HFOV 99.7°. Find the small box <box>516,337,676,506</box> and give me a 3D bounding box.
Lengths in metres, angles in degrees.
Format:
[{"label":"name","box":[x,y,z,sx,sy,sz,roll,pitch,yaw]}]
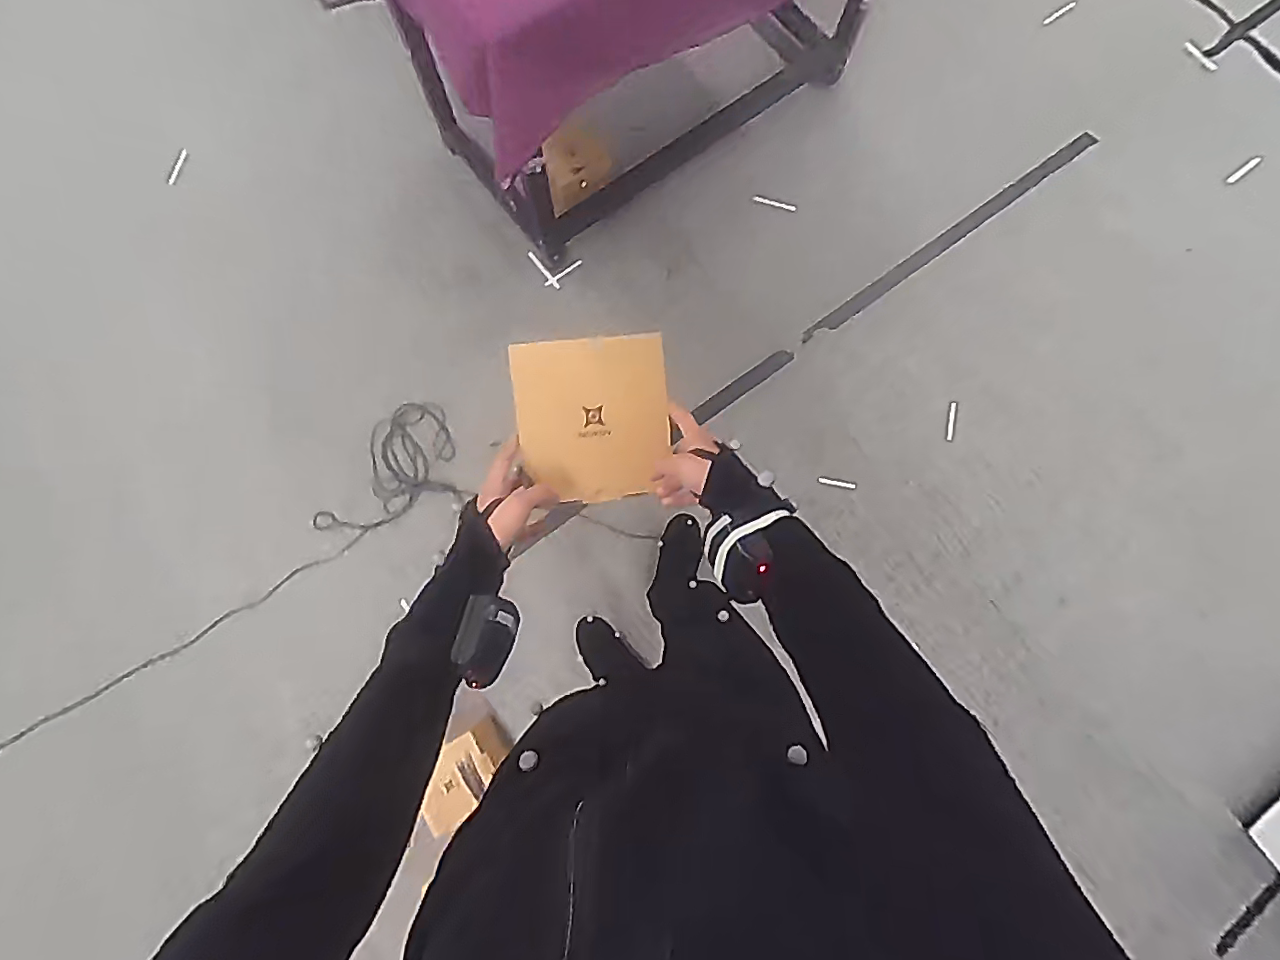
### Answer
[{"label":"small box","box":[-0.057,-0.070,0.660,0.168,0.176,0.179,-5,97,-7]}]
